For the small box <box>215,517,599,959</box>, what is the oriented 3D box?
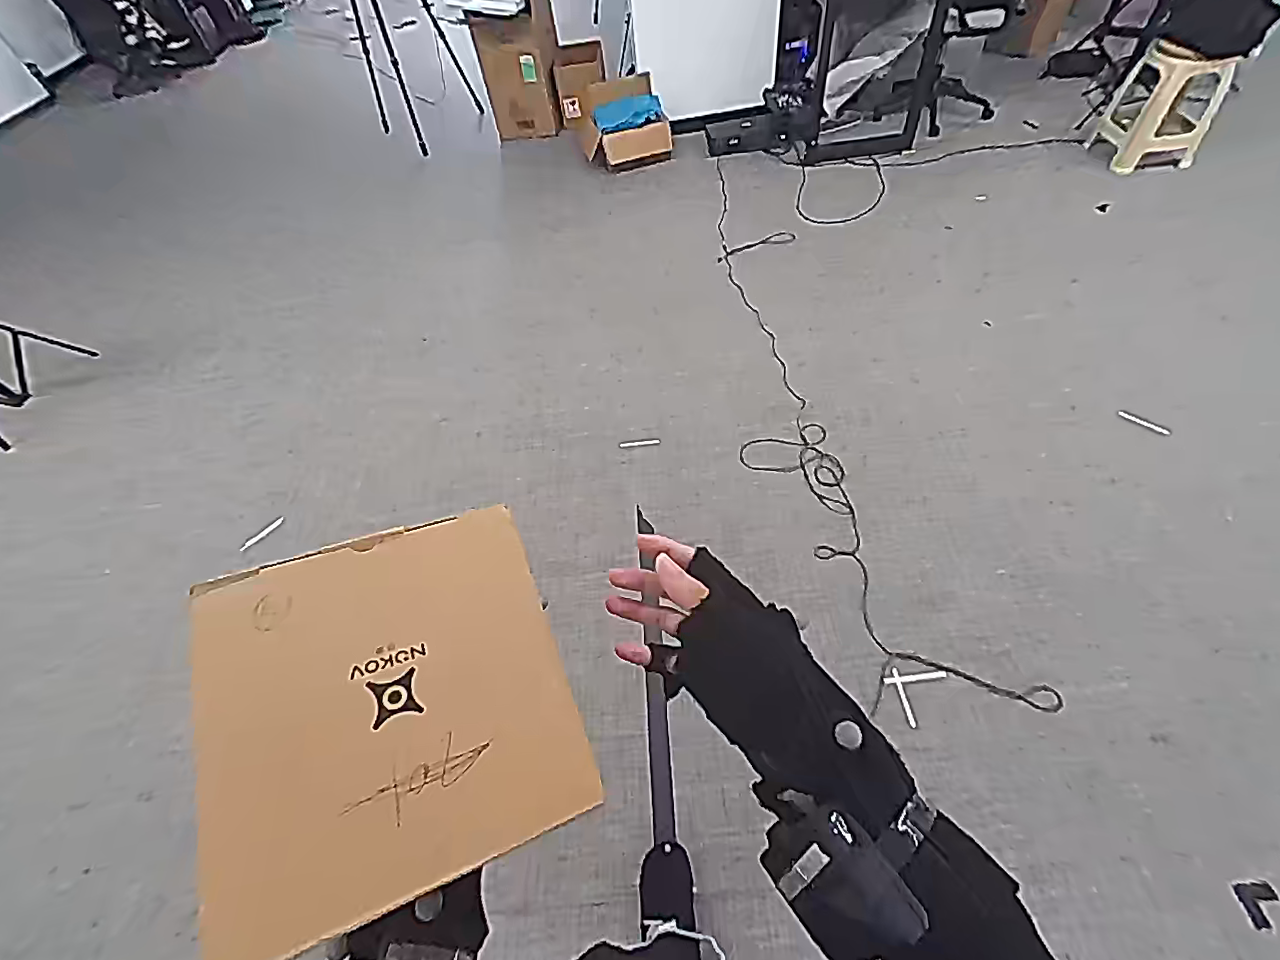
[{"bbox_3d":[-0.141,0.153,0.349,0.168,0.176,0.179,-14,62,-21],"label":"small box"}]
